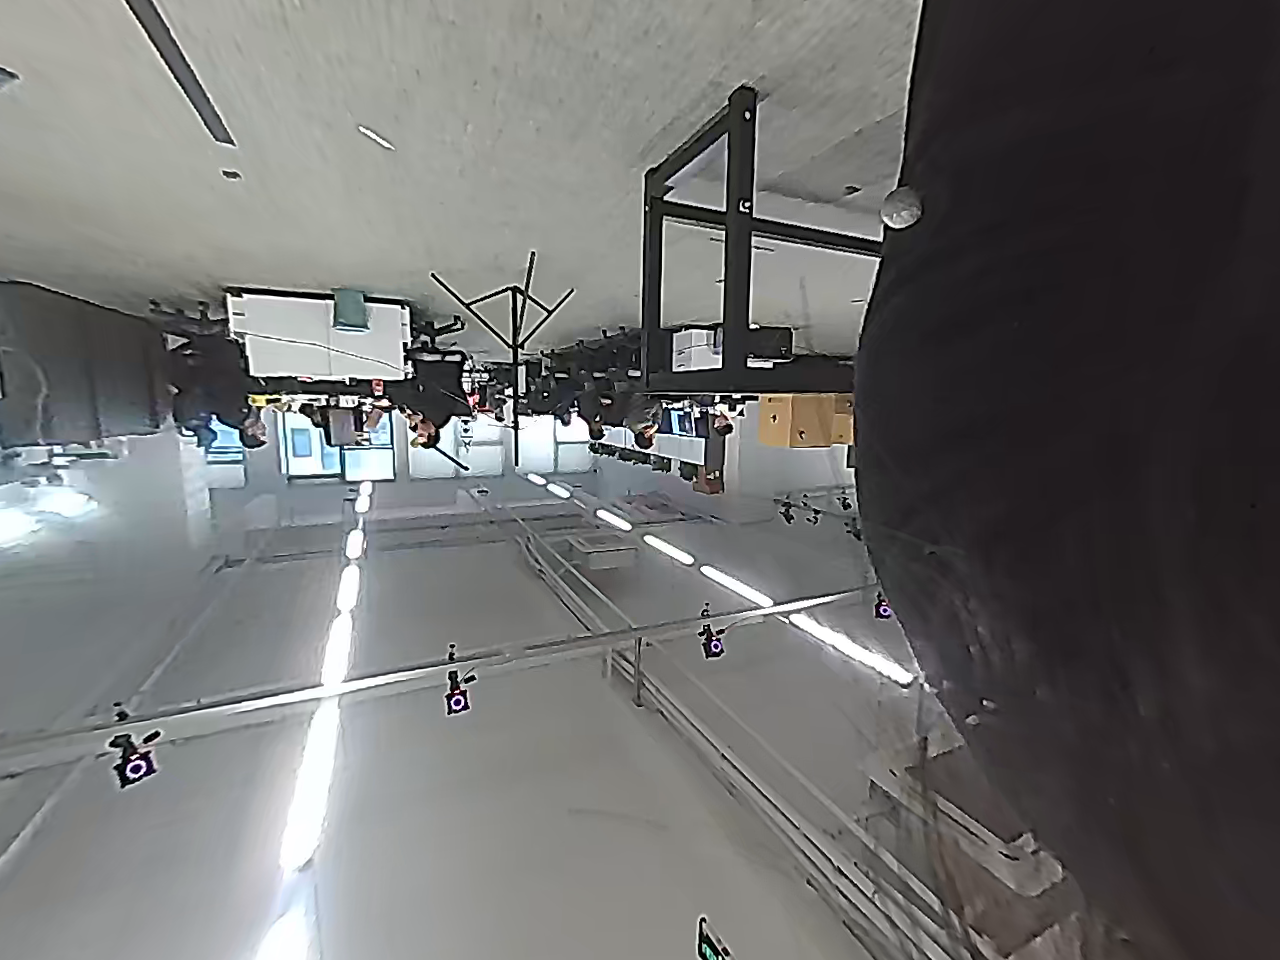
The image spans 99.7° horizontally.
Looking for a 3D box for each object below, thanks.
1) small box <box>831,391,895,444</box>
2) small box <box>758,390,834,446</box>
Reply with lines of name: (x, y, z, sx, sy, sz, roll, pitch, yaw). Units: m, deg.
small box: (0.747, -0.216, 1.860, 0.179, 0.176, 0.168, -4, -170, -25)
small box: (0.501, -0.202, 1.748, 0.179, 0.176, 0.168, -4, -170, -24)
